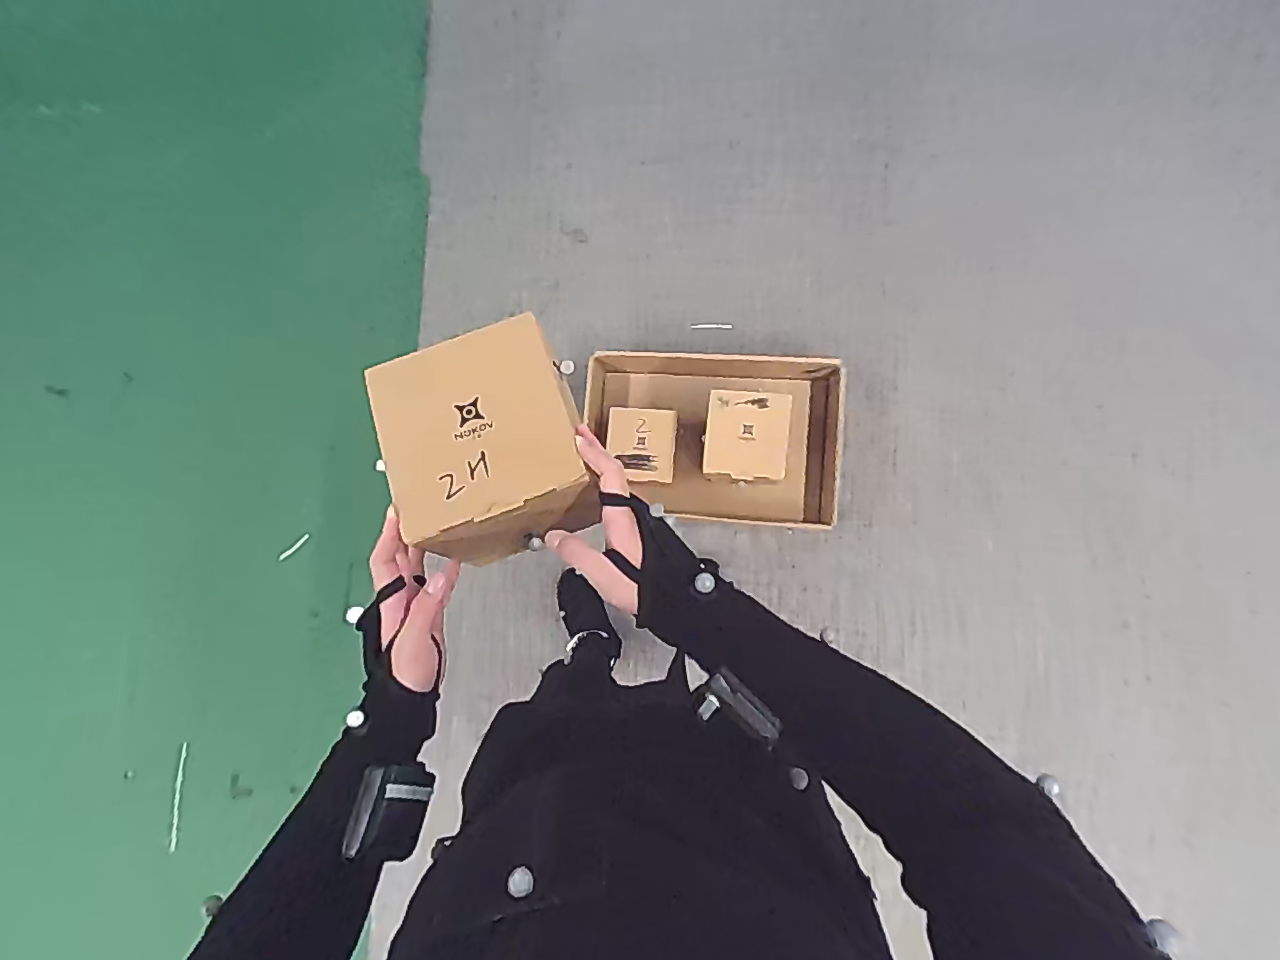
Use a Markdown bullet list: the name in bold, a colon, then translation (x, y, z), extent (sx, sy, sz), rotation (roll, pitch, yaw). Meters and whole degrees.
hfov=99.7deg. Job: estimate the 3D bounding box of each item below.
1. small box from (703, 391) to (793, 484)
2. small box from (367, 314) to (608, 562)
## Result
- **small box**: translation (0.232, -0.085, 1.169), extent (0.168, 0.176, 0.179), rotation (6, 88, 10)
- **small box**: translation (-0.143, -0.030, 0.555), extent (0.168, 0.176, 0.179), rotation (-21, 74, -1)
